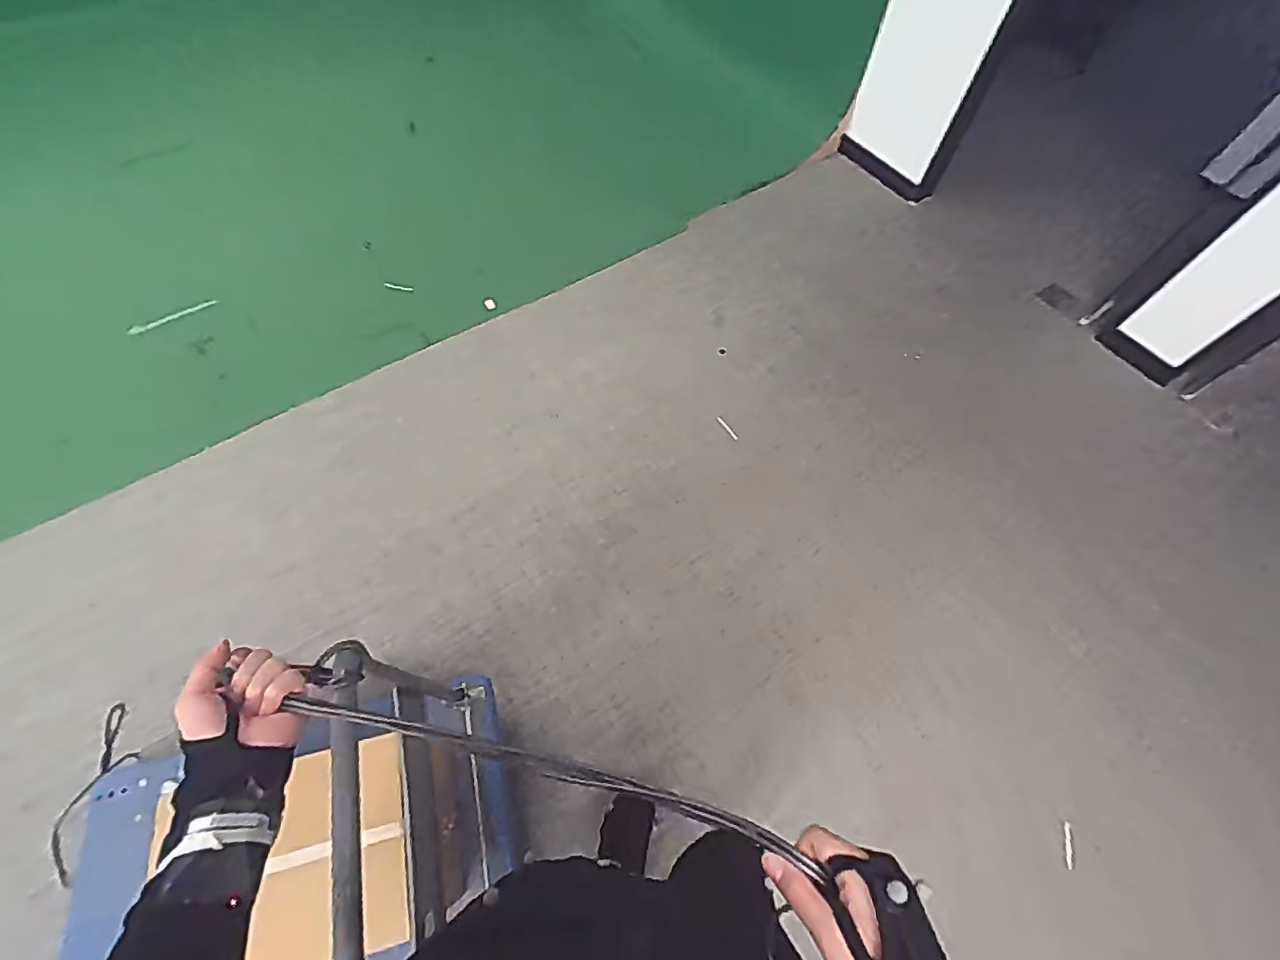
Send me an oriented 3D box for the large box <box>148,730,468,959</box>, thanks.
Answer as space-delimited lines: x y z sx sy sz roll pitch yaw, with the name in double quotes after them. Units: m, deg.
-0.581 0.693 1.018 0.408 0.320 0.320 -13 63 -7 "large box"
